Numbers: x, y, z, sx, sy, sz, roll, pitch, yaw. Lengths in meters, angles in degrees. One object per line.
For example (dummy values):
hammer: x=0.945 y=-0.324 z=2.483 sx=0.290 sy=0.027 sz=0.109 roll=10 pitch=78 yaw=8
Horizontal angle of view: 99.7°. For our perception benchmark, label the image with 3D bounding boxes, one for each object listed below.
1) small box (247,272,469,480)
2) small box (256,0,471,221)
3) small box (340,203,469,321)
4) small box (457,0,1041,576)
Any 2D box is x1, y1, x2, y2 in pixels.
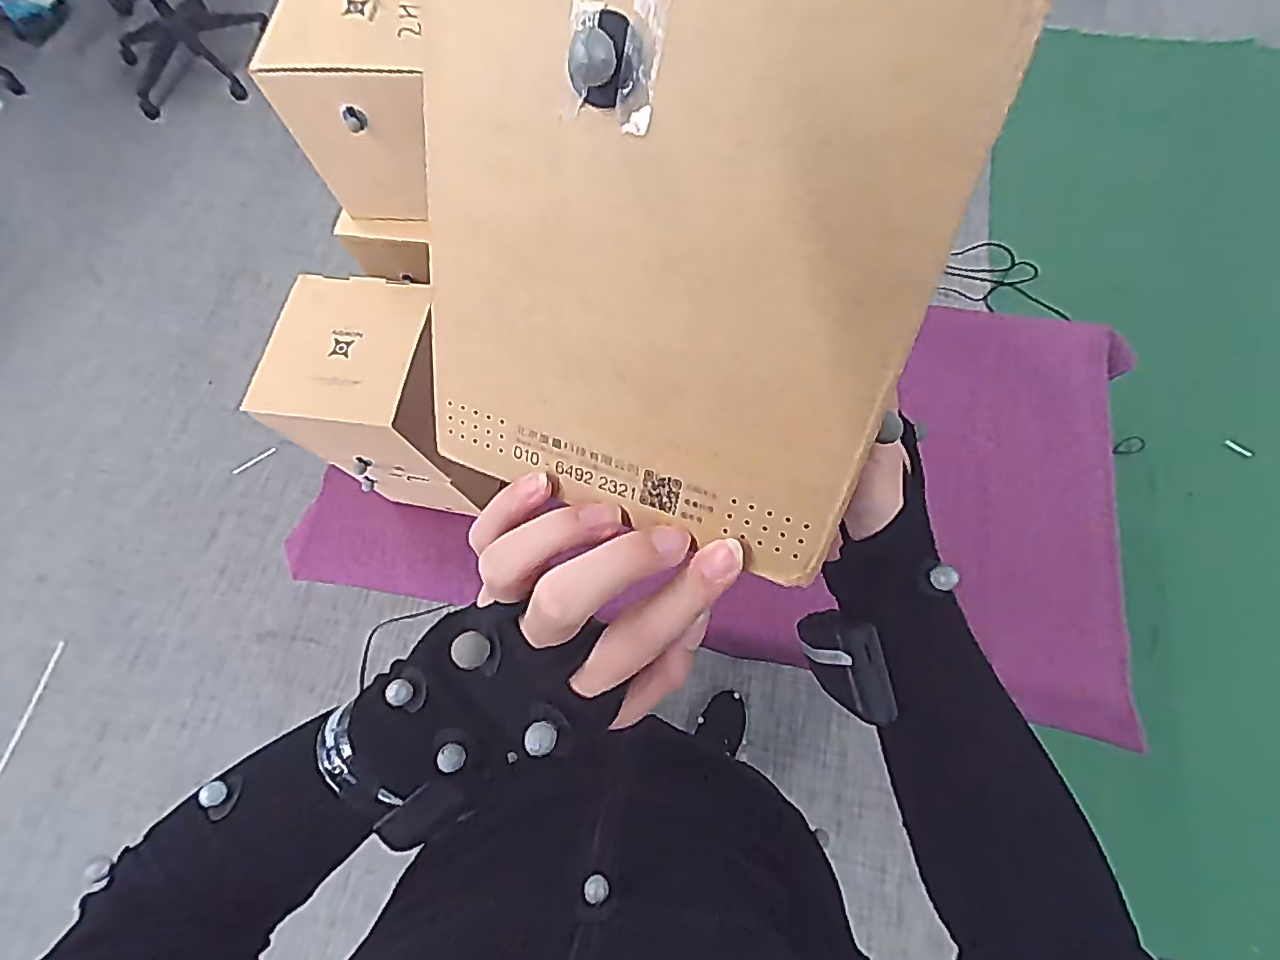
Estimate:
small box: x=-0.310 y=-0.117 z=0.652 sx=0.168 sy=0.176 sz=0.179 roll=7 pitch=71 yaw=5
small box: x=-0.246 y=-0.402 z=0.576 sx=0.179 sy=0.176 sz=0.168 roll=4 pitch=71 yaw=3
small box: x=-0.256 y=-0.327 z=0.724 sx=0.168 sy=0.176 sz=0.179 roll=7 pitch=71 yaw=5
small box: x=0.033 y=-0.089 z=0.247 sx=0.168 sy=0.176 sz=0.179 roll=19 pitch=30 yaw=16
